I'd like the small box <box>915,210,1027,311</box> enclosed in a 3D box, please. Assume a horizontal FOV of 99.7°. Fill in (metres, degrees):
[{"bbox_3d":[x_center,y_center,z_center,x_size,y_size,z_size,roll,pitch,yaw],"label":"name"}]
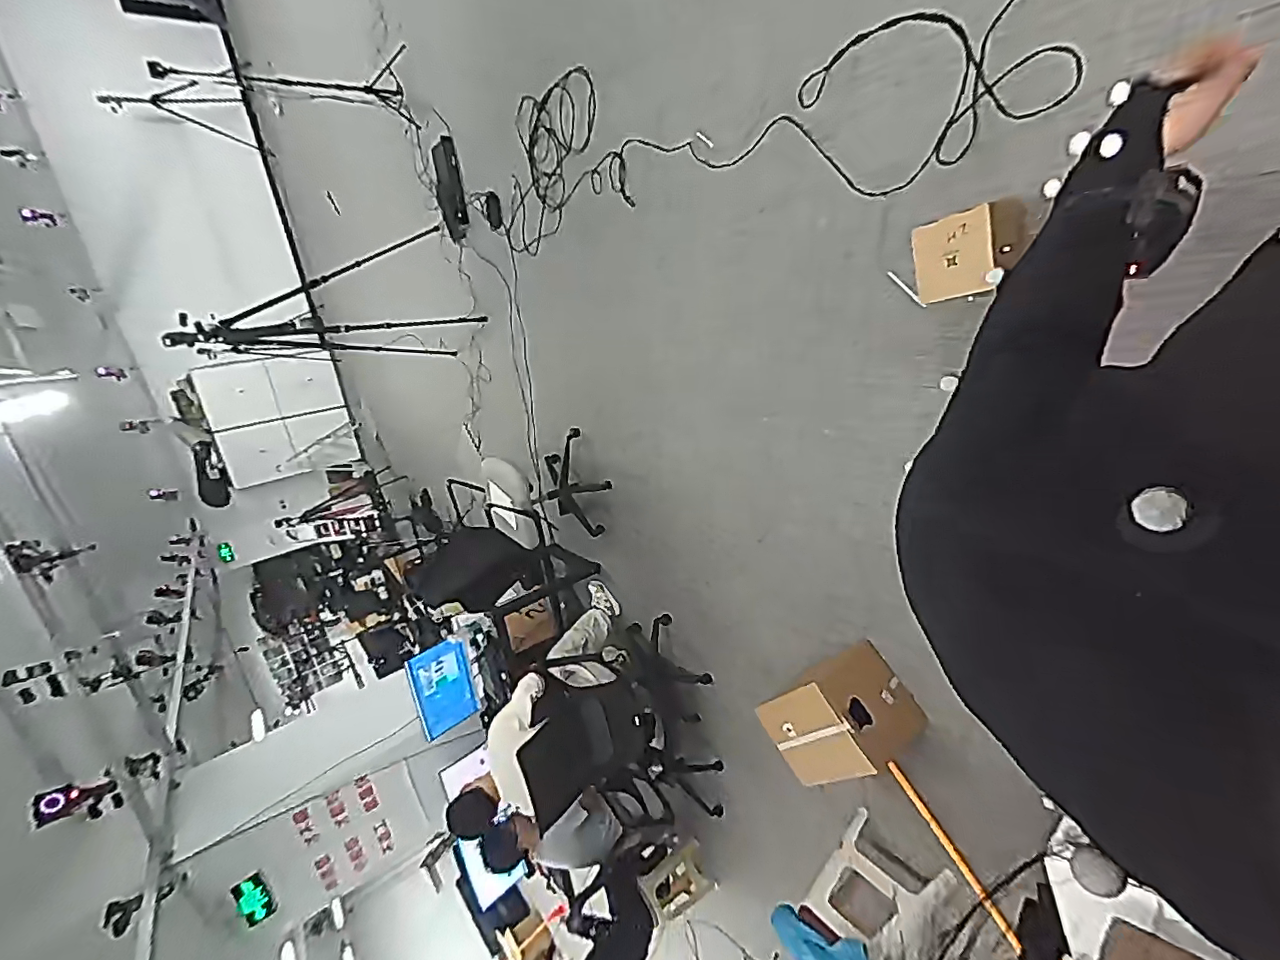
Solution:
[{"bbox_3d":[0.763,-0.503,1.242,0.168,0.176,0.179,4,109,54],"label":"small box"}]
